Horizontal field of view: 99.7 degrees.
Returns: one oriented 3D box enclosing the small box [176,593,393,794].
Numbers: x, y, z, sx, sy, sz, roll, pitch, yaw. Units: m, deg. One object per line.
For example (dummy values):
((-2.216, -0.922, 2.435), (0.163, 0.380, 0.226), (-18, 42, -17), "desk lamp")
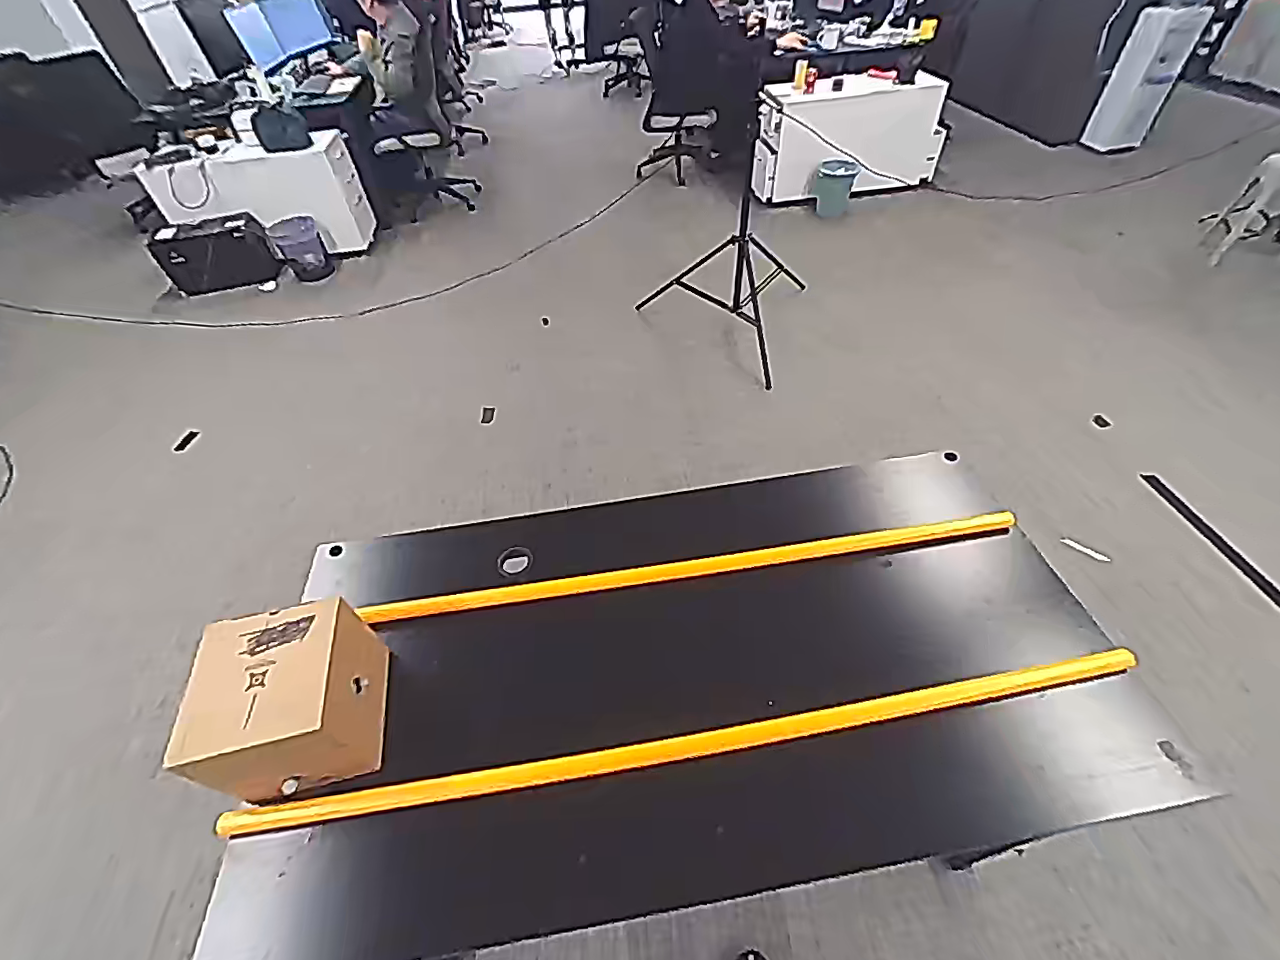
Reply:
((-0.440, 0.280, 0.709), (0.168, 0.176, 0.179), (-12, 49, -7), "small box")
